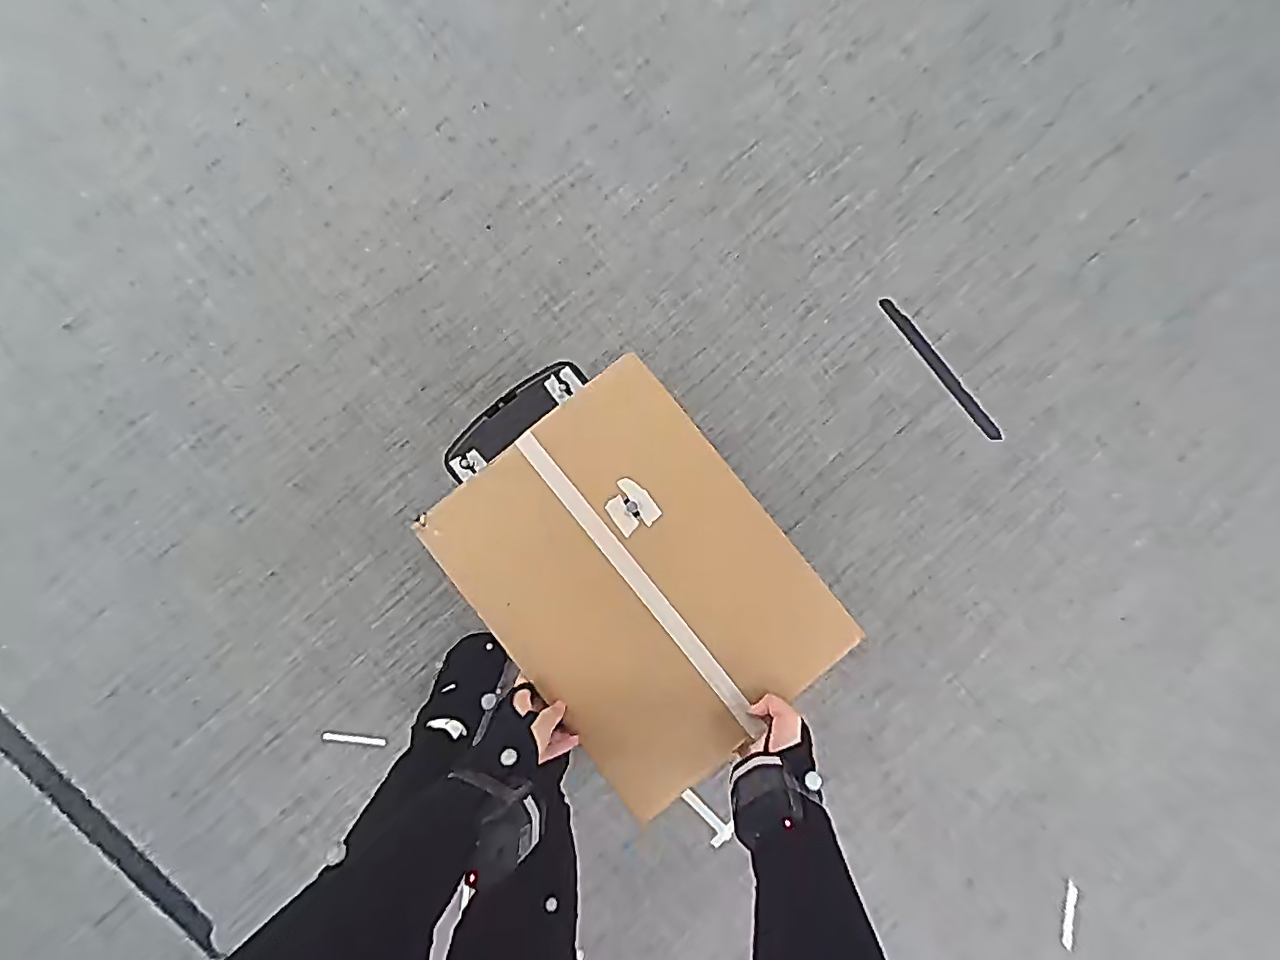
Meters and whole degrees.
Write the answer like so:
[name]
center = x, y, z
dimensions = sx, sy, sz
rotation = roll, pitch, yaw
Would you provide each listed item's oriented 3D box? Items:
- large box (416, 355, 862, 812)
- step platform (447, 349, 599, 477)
[large box]
center = -0.001, 0.117, 0.729
dimensions = 0.320, 0.320, 0.408
rotation = -39, 86, -4
[step platform]
center = -0.044, 0.109, 0.986
dimensions = 0.286, 0.204, 0.684
rotation = -35, 93, -3
